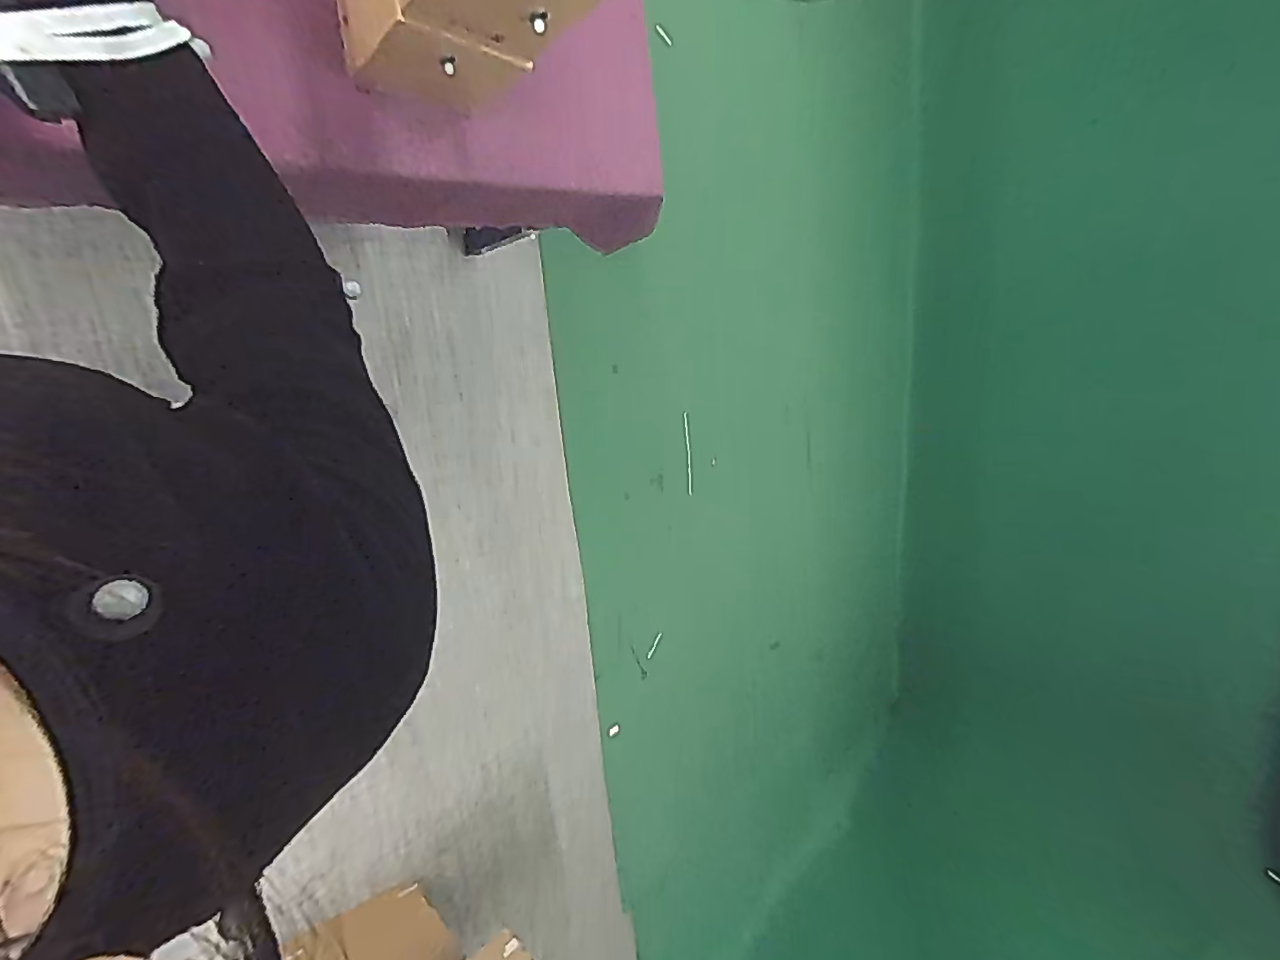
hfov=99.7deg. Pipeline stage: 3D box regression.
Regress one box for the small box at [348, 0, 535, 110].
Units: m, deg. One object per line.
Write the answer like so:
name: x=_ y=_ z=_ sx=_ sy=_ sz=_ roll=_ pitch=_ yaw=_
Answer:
small box: x=-0.256 y=-0.599 z=0.676 sx=0.179 sy=0.176 sz=0.168 roll=-14 pitch=107 yaw=-42

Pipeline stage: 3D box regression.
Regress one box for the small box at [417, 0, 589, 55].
small box: x=-0.145 y=-0.590 z=0.557 sx=0.168 sy=0.176 sz=0.179 roll=-15 pitch=105 yaw=-42
